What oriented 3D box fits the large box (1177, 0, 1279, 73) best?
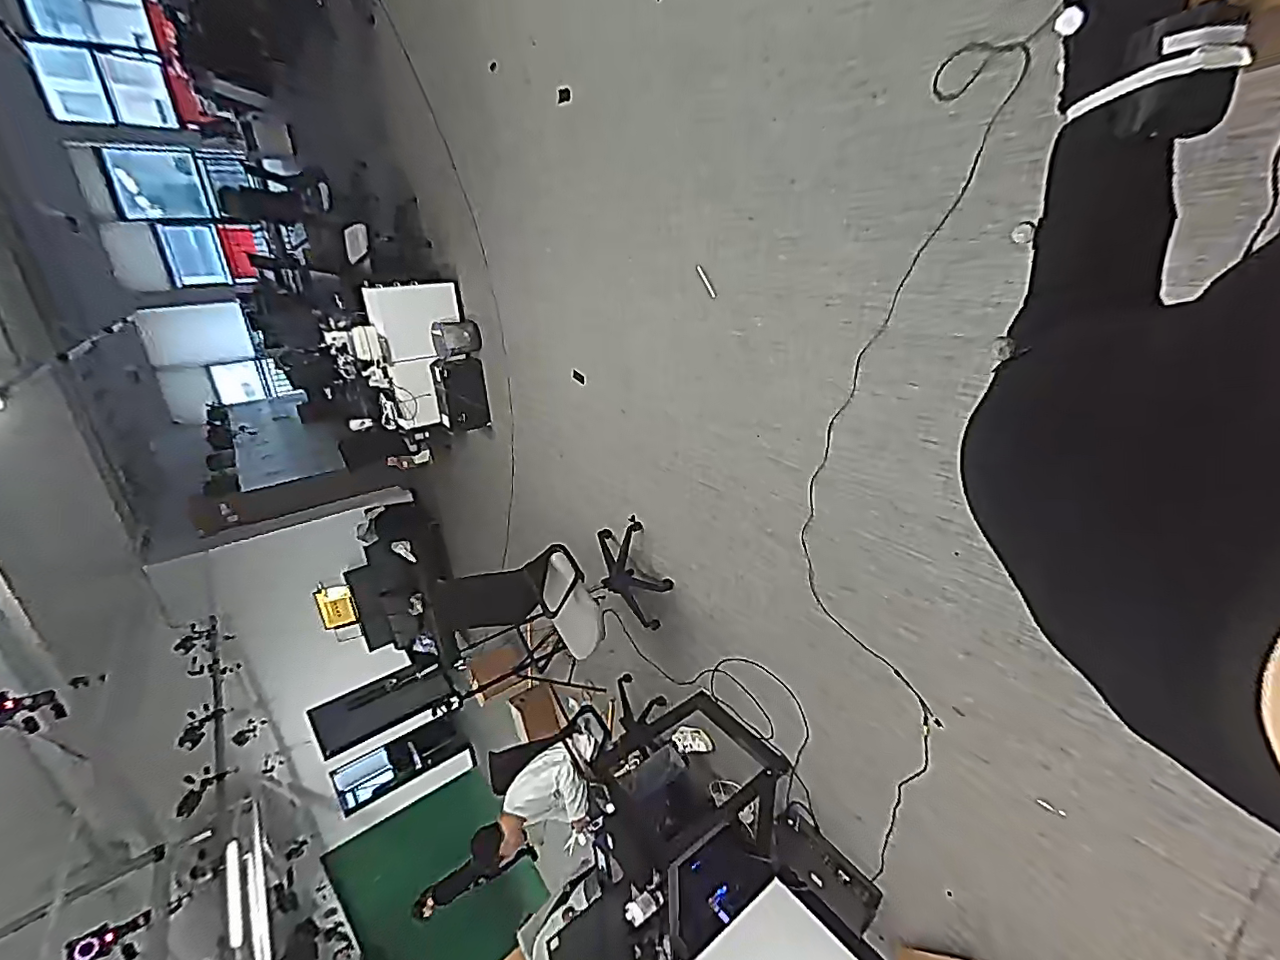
[{"bbox_3d":[0.573,-0.467,0.256,0.408,0.320,0.320,13,120,49],"label":"large box"}]
